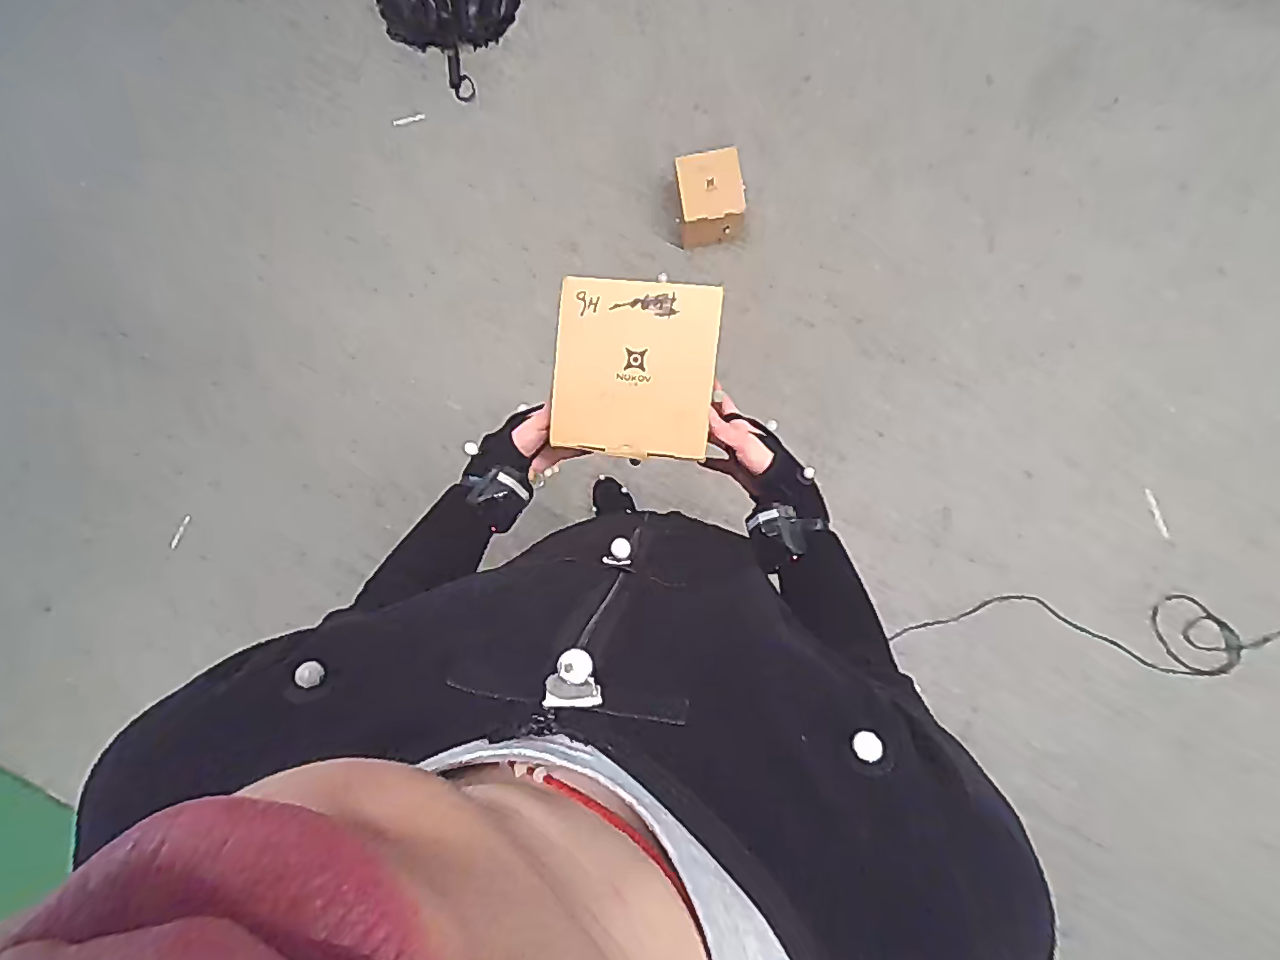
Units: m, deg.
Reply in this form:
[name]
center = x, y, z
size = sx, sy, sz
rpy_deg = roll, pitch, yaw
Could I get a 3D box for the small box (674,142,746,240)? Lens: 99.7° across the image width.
[small box]
center = 0.188, -0.785, 1.494
size = 0.168, 0.176, 0.179
rpy_deg = -10, 87, 2
